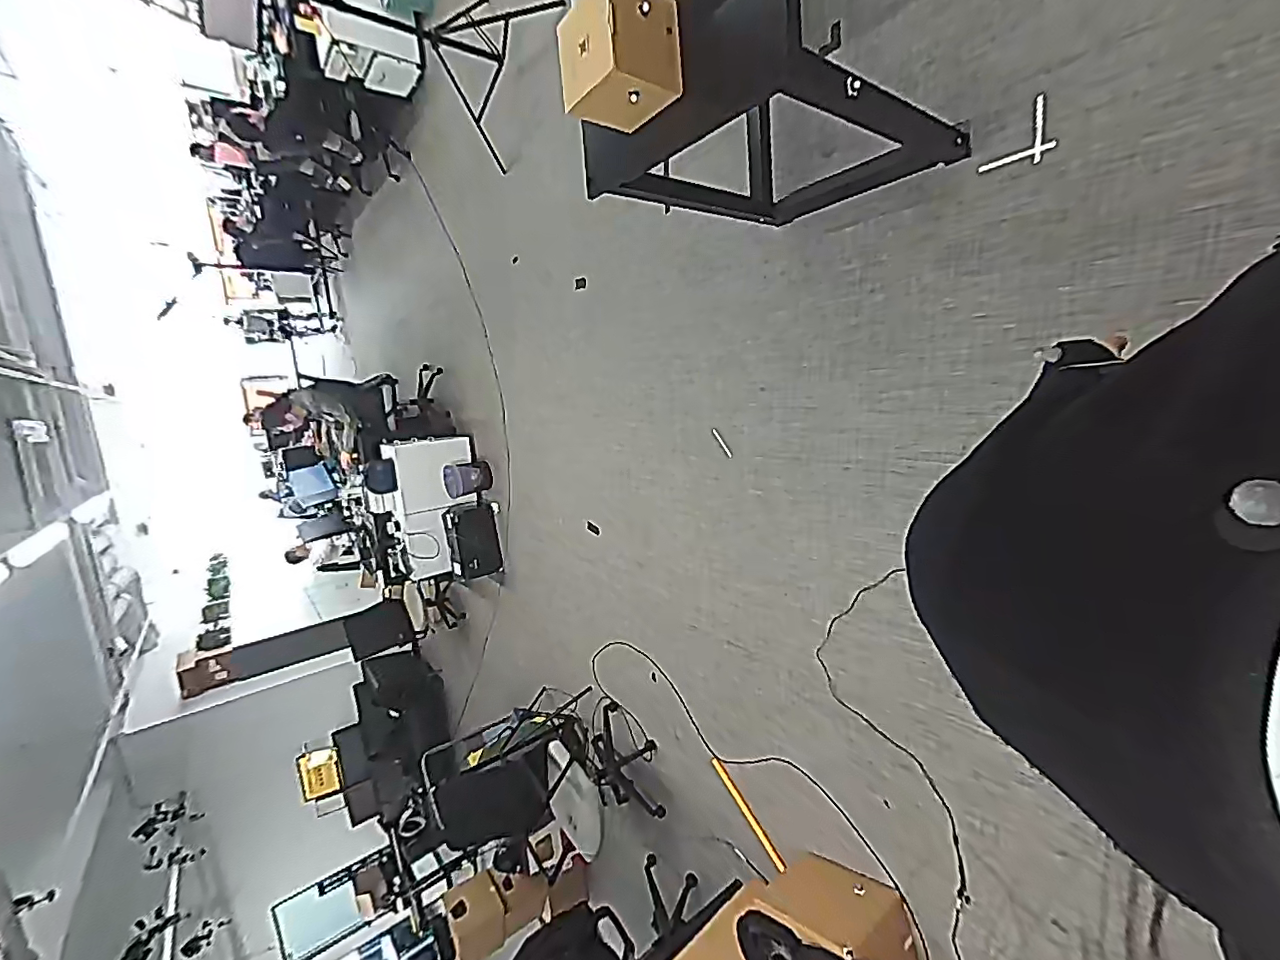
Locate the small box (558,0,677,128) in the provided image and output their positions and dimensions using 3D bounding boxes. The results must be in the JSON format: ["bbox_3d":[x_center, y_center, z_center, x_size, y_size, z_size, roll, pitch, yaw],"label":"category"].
[{"bbox_3d":[-0.039,-0.826,1.056,0.179,0.176,0.168,5,103,53],"label":"small box"}]
